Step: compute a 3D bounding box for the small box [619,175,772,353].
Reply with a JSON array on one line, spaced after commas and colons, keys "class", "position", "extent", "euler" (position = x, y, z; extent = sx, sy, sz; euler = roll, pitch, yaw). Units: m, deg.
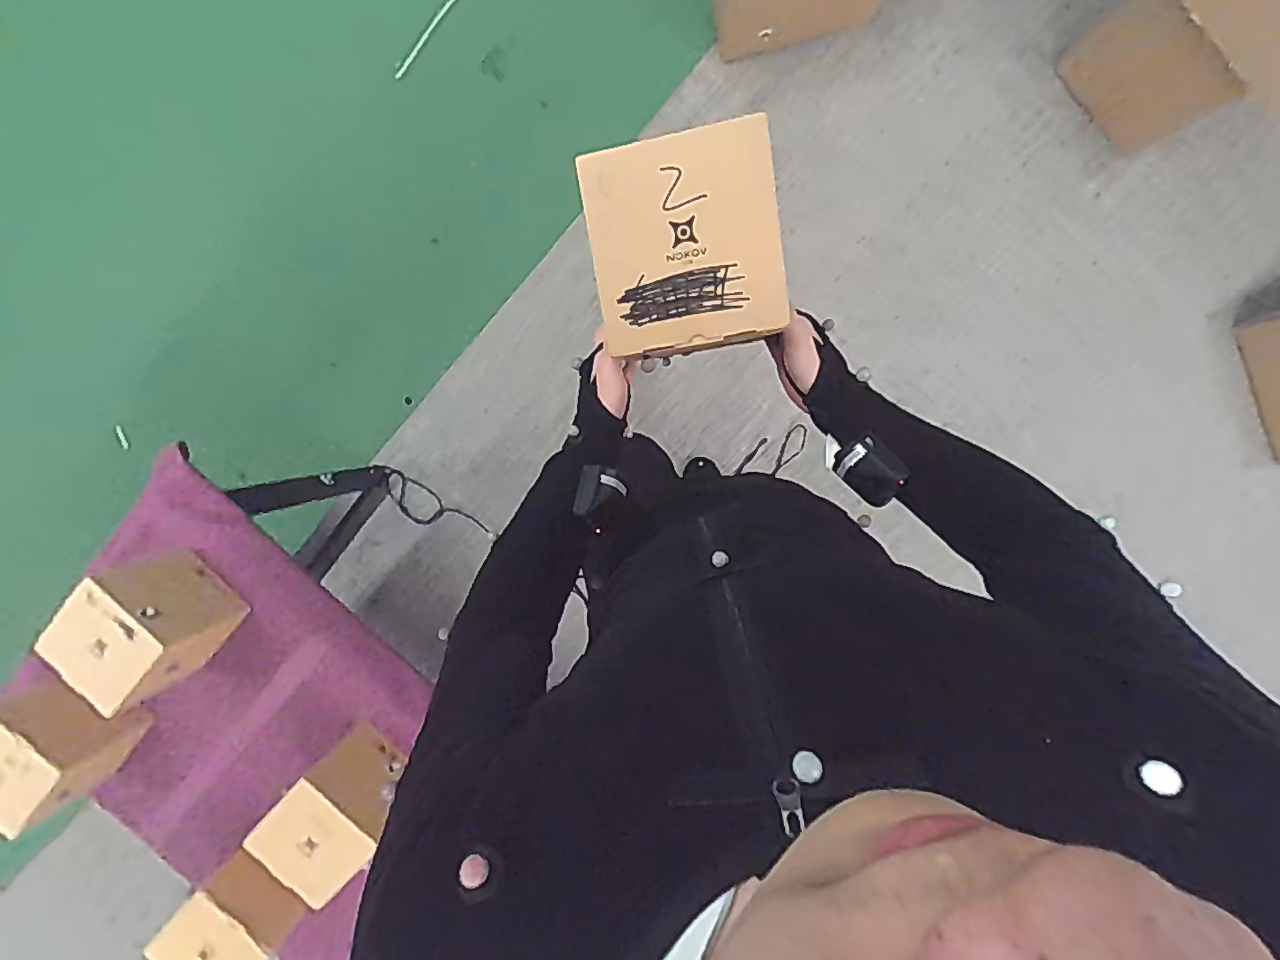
[{"class": "small box", "position": [0.075, -0.264, 0.703], "extent": [0.168, 0.176, 0.179], "euler": [-7, 101, 8]}]

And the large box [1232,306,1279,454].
[{"class": "large box", "position": [1.768, -0.272, 1.280], "extent": [0.320, 0.320, 0.408], "euler": [-23, 93, 7]}]

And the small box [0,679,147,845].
[{"class": "small box", "position": [-1.048, 0.480, 0.959], "extent": [0.168, 0.176, 0.179], "euler": [41, 98, -3]}]

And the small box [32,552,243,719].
[{"class": "small box", "position": [-0.830, 0.251, 0.912], "extent": [0.168, 0.176, 0.179], "euler": [44, 101, -2]}]

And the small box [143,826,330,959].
[{"class": "small box", "position": [-0.707, 0.782, 0.968], "extent": [0.168, 0.176, 0.179], "euler": [42, 97, 0]}]
